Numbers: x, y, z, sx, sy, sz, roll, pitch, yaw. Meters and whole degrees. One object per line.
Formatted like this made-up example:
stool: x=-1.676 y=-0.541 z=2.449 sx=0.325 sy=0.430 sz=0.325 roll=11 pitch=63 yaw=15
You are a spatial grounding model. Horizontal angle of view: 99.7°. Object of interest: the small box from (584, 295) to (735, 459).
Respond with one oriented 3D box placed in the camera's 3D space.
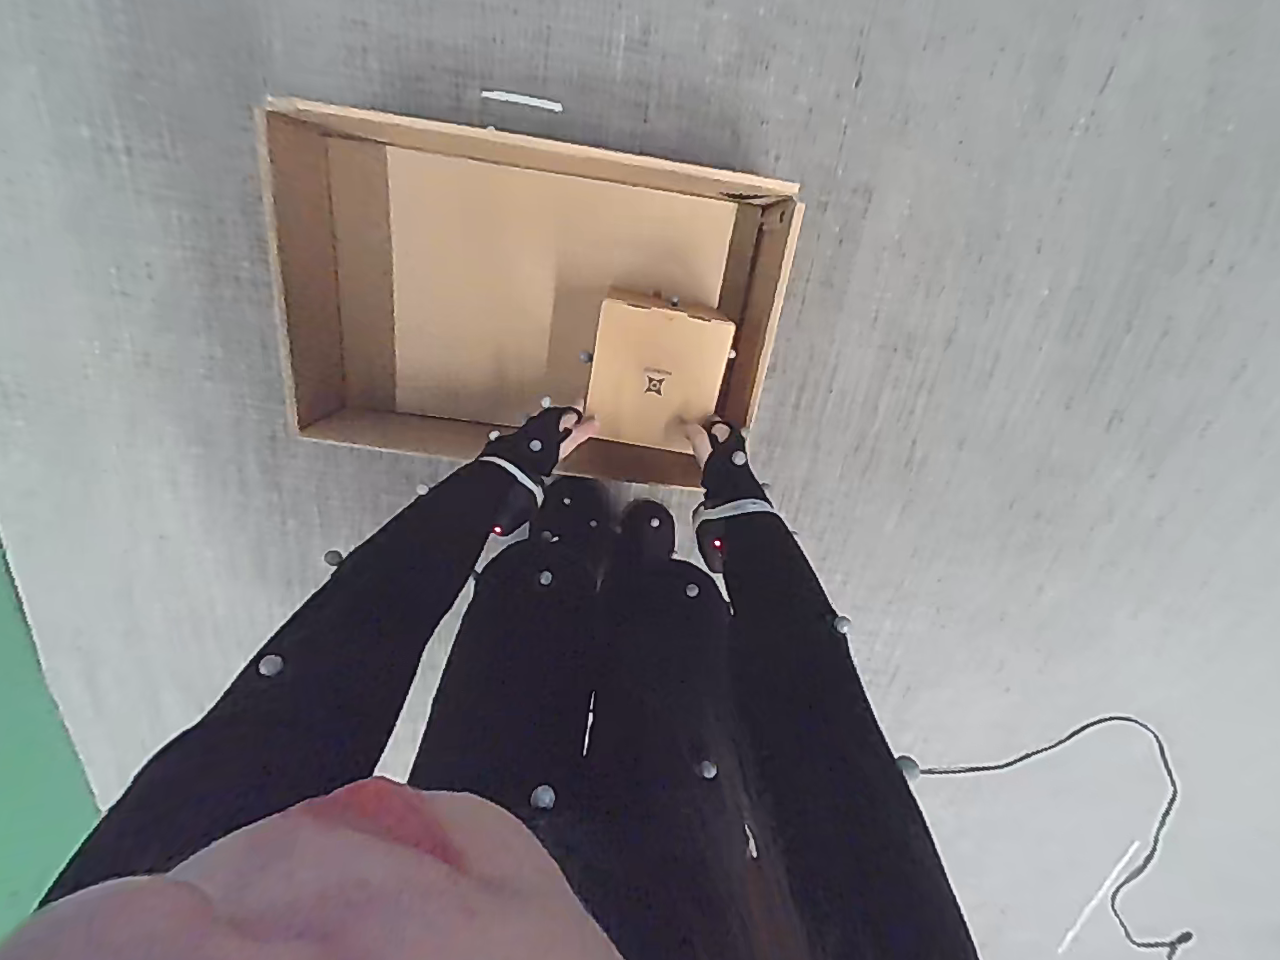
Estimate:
small box: x=0.022 y=-0.151 z=0.759 sx=0.168 sy=0.176 sz=0.179 roll=10 pitch=112 yaw=-5
